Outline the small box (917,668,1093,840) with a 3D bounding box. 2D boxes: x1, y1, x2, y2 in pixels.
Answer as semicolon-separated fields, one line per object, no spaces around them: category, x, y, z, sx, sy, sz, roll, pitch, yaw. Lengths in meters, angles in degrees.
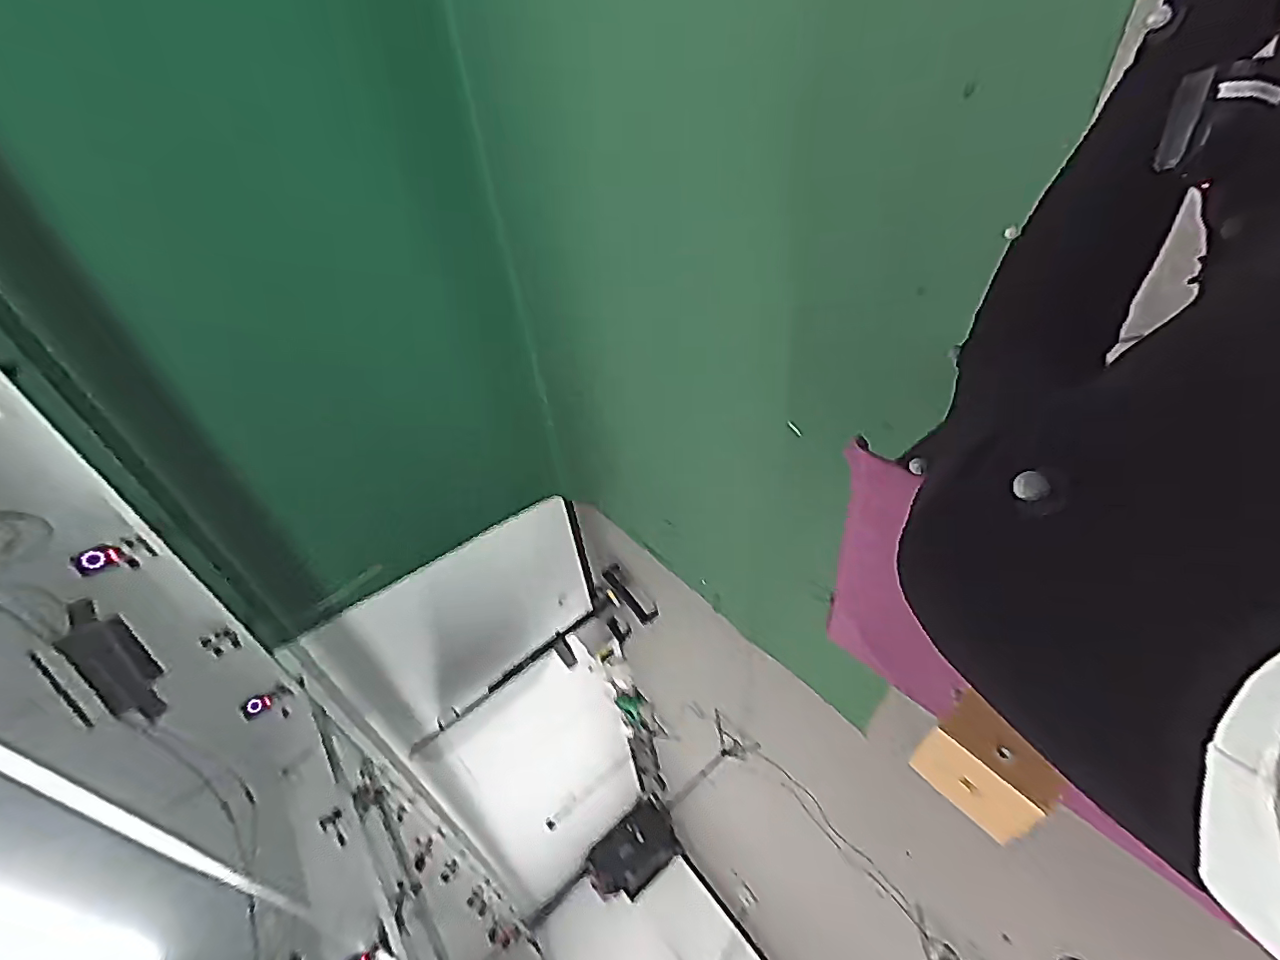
small box;0.628;0.468;0.938;0.179;0.176;0.168;39;147;36
